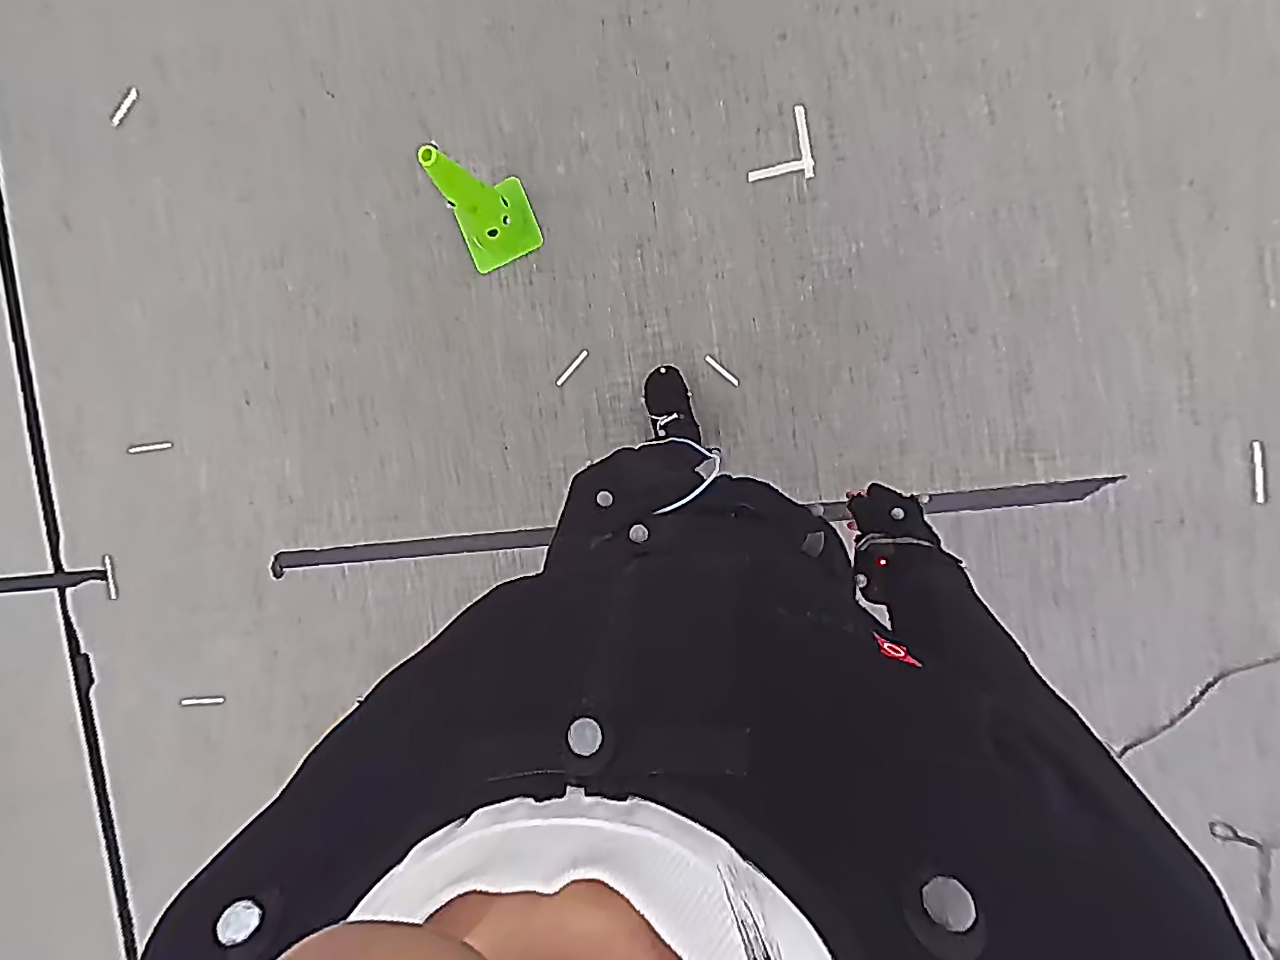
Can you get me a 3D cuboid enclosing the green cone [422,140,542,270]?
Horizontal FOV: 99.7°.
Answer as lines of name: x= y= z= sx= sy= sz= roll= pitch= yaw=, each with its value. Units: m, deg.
green cone: x=-0.403 y=-0.674 z=1.270 sx=0.202 sy=0.368 sz=0.200 roll=-23 pitch=90 yaw=9
